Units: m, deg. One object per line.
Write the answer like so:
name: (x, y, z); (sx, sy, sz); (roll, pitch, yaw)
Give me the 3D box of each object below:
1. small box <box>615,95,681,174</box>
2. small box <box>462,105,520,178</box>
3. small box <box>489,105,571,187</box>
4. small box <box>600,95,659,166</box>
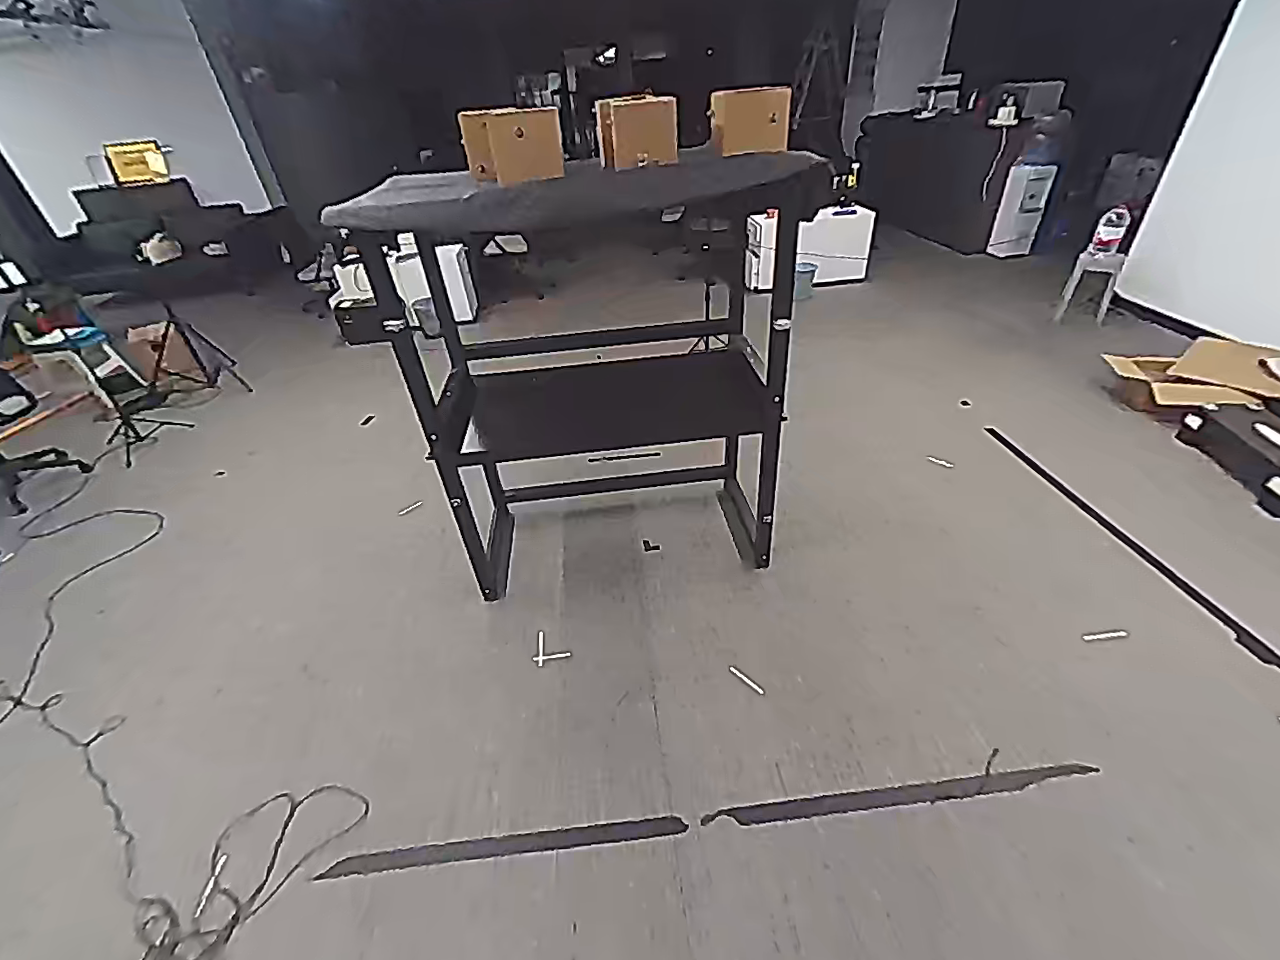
small box: (0.021, -0.943, 1.478); (0.168, 0.176, 0.179); (-7, 36, 0)
small box: (-0.431, -1.027, 1.643); (0.168, 0.176, 0.179); (-9, 37, -5)
small box: (-0.287, -0.891, 1.443); (0.179, 0.176, 0.168); (-6, 37, -1)
small box: (-0.028, -1.082, 1.669); (0.179, 0.176, 0.168); (-6, 36, -3)
